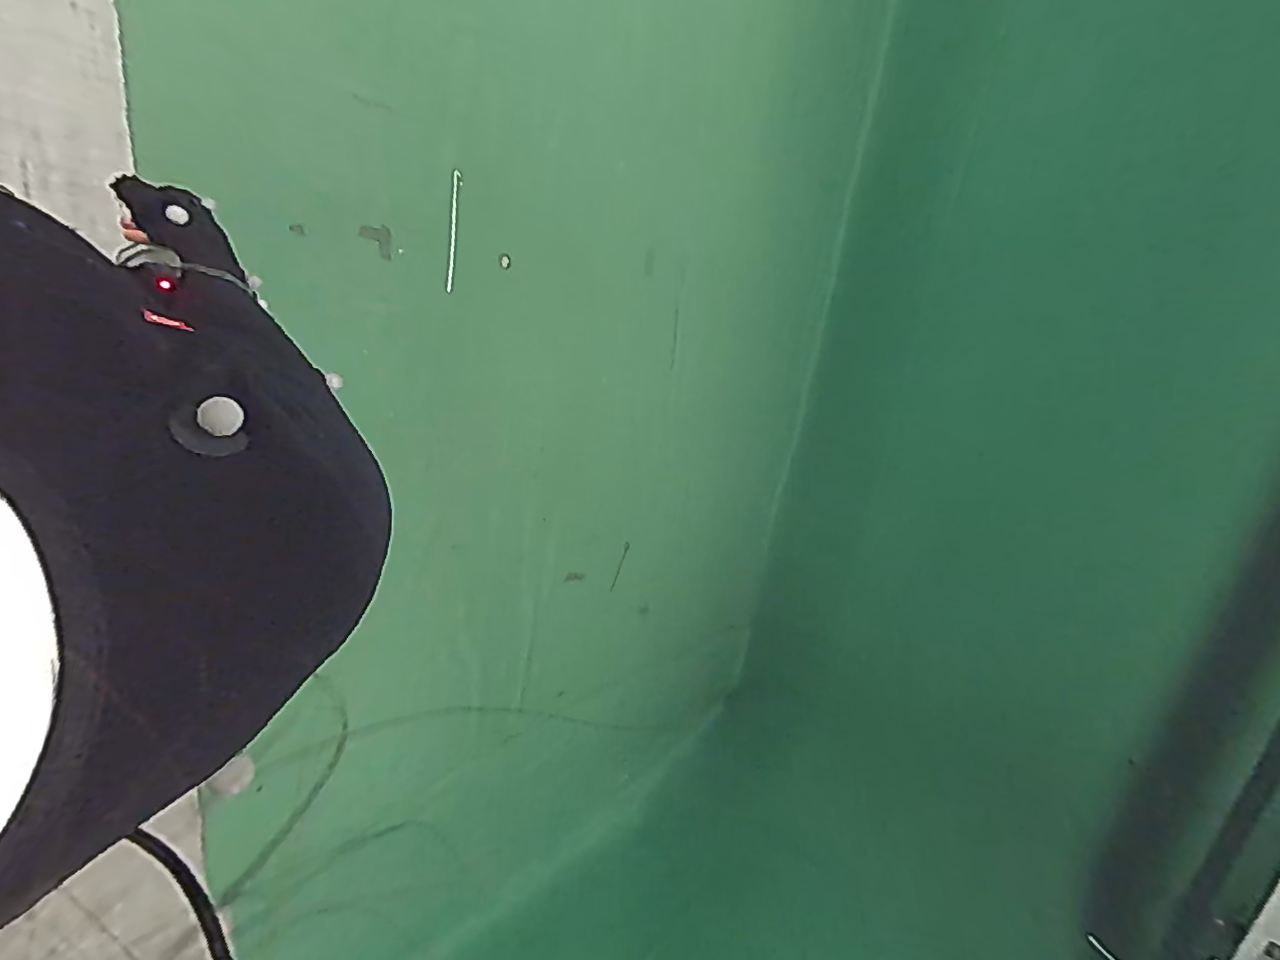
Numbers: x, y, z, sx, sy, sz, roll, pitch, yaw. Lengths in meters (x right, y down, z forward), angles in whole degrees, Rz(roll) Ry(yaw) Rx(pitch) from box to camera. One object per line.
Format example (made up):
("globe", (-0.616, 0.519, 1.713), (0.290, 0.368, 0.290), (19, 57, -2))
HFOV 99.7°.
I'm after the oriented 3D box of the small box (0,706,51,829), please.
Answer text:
("small box", (-1.236, 0.542, 0.980), (0.168, 0.176, 0.179), (-30, 130, -40))
